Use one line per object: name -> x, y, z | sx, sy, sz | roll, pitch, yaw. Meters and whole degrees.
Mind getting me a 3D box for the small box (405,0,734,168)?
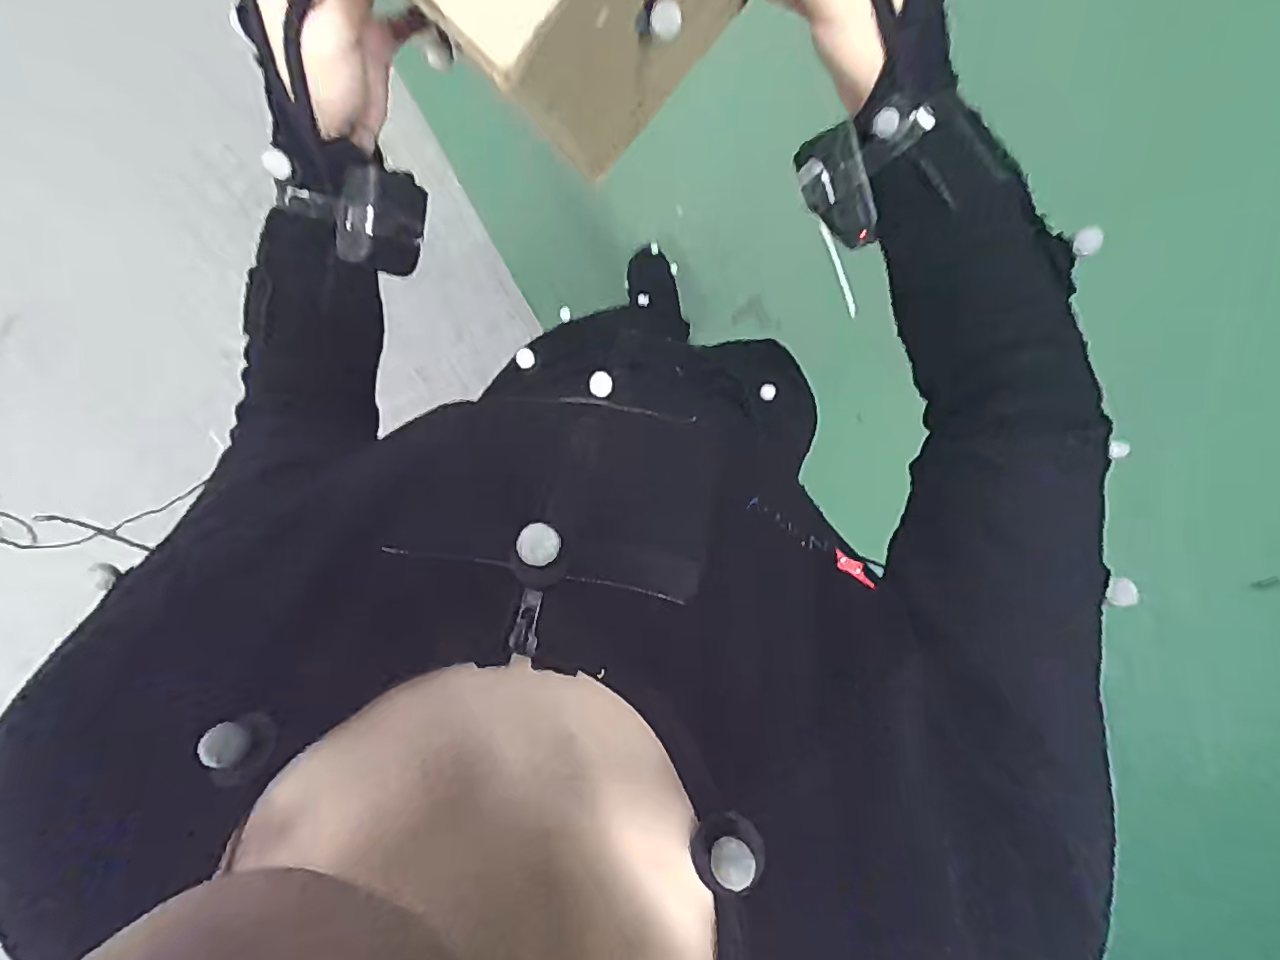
small box -> -0.043, -0.291, 0.256 | 0.168, 0.176, 0.179 | 43, 107, -7
